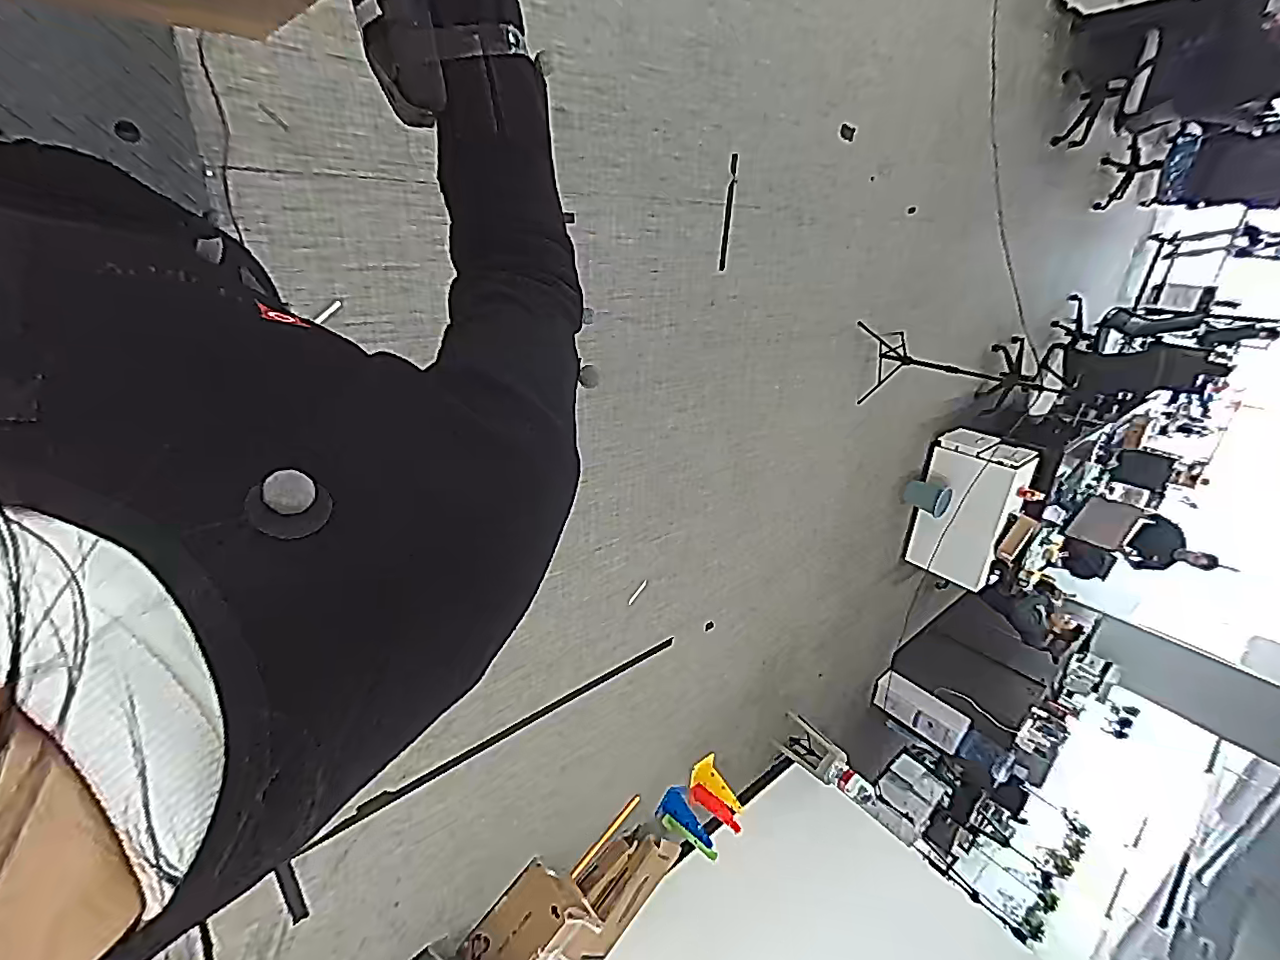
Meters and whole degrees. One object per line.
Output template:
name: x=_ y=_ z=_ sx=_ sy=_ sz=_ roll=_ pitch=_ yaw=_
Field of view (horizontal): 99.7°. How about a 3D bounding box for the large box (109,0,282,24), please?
large box: x=-0.385 y=-0.411 z=0.189 sx=0.408 sy=0.320 sz=0.320 roll=-19 pitch=129 yaw=-35
